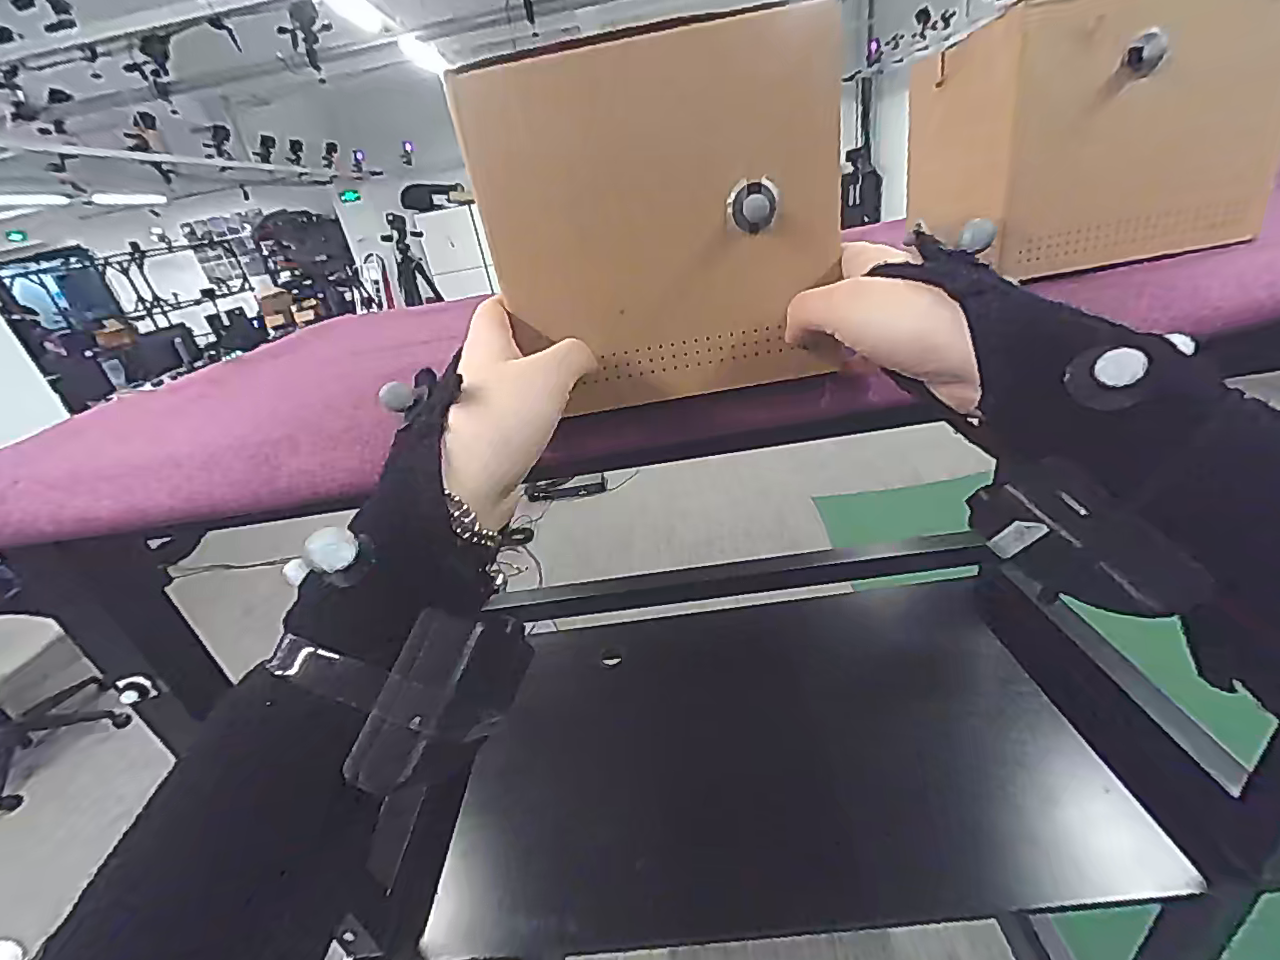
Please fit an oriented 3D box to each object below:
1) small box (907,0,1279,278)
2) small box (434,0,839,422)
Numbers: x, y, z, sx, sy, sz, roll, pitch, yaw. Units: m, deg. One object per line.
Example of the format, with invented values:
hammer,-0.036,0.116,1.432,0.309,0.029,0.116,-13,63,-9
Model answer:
small box,0.326,-0.260,0.416,0.179,0.176,0.168,-8,26,6
small box,0.007,-0.151,0.333,0.179,0.176,0.168,-10,26,3
